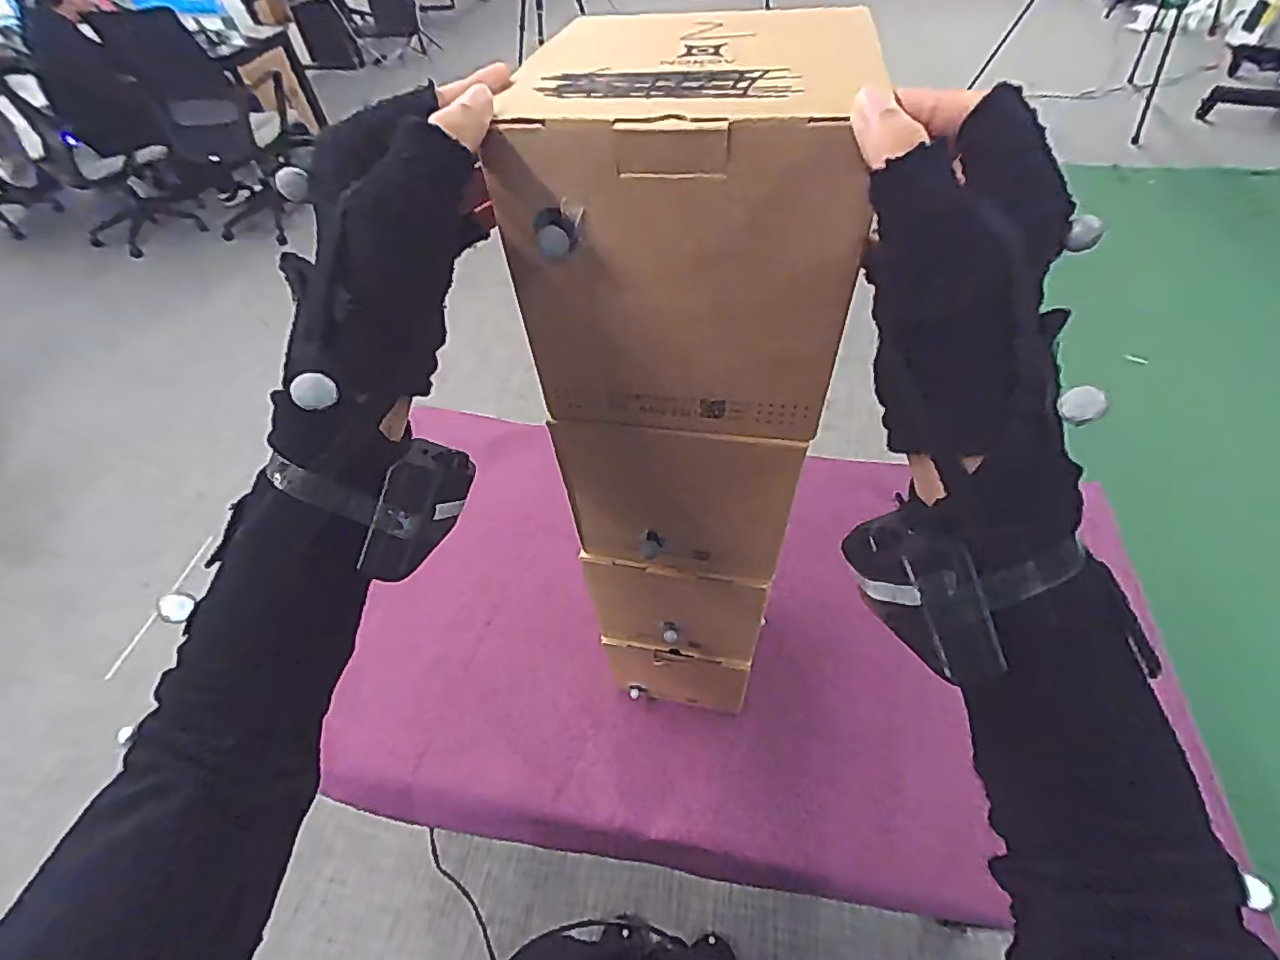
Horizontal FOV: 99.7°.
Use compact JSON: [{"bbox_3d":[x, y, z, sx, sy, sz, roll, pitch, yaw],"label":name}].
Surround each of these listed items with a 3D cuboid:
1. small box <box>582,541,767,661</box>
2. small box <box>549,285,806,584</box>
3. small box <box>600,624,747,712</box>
[{"bbox_3d":[0.048,0.068,0.578,0.168,0.176,0.179,7,52,11],"label":"small box"},{"bbox_3d":[0.039,-0.038,0.456,0.168,0.176,0.179,7,52,10],"label":"small box"},{"bbox_3d":[0.058,0.178,0.699,0.168,0.176,0.179,7,51,10],"label":"small box"}]
